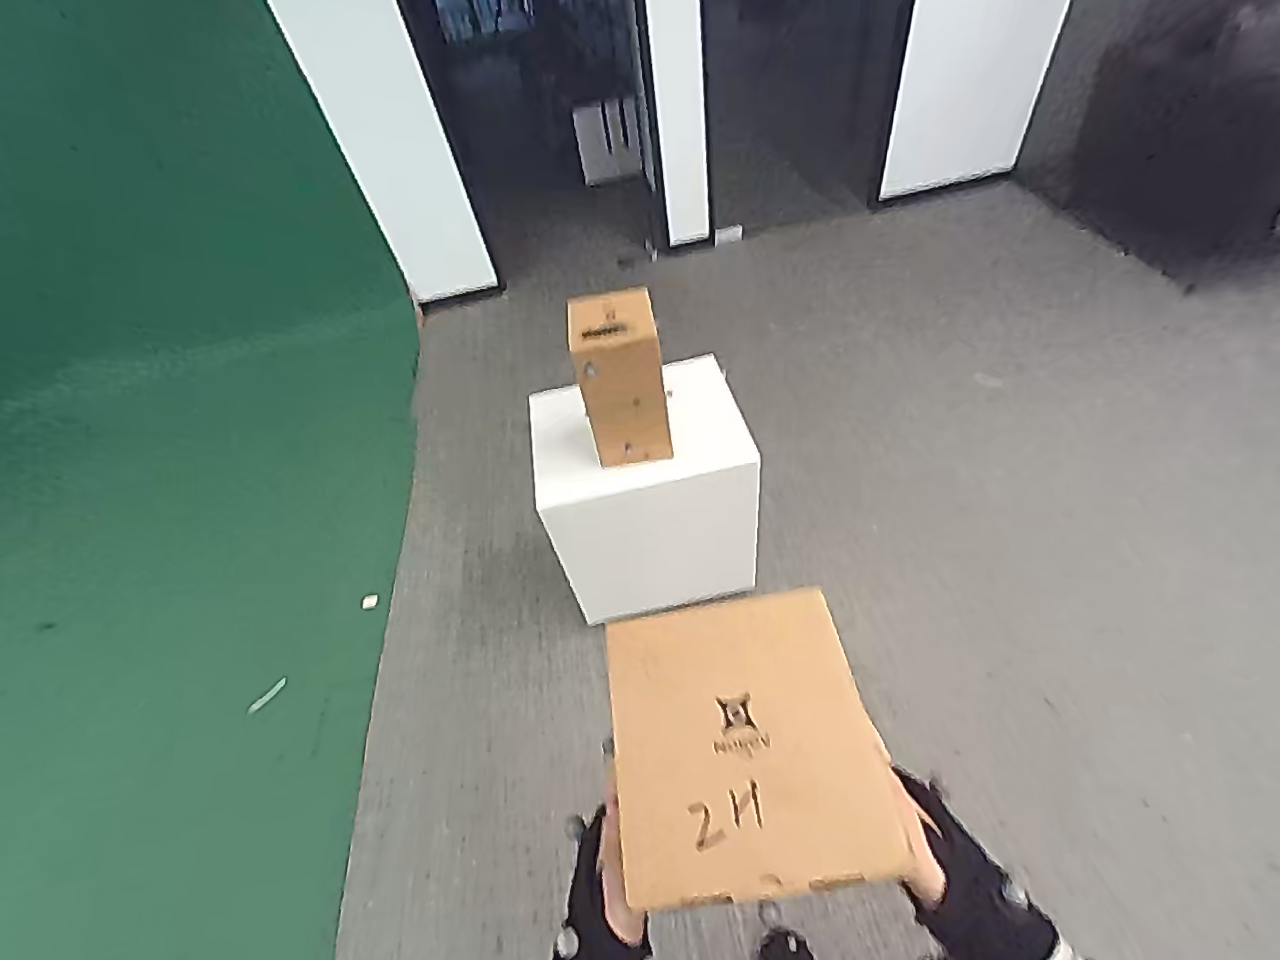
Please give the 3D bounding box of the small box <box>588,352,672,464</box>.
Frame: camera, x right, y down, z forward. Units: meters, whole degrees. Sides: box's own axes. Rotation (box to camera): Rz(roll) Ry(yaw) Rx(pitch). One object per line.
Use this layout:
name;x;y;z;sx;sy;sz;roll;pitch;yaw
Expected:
small box;-0.021;-0.162;1.221;0.168;0.176;0.179;-8;48;3

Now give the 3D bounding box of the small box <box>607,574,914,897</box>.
small box;0.075;0.200;0.415;0.168;0.176;0.179;-12;51;3
